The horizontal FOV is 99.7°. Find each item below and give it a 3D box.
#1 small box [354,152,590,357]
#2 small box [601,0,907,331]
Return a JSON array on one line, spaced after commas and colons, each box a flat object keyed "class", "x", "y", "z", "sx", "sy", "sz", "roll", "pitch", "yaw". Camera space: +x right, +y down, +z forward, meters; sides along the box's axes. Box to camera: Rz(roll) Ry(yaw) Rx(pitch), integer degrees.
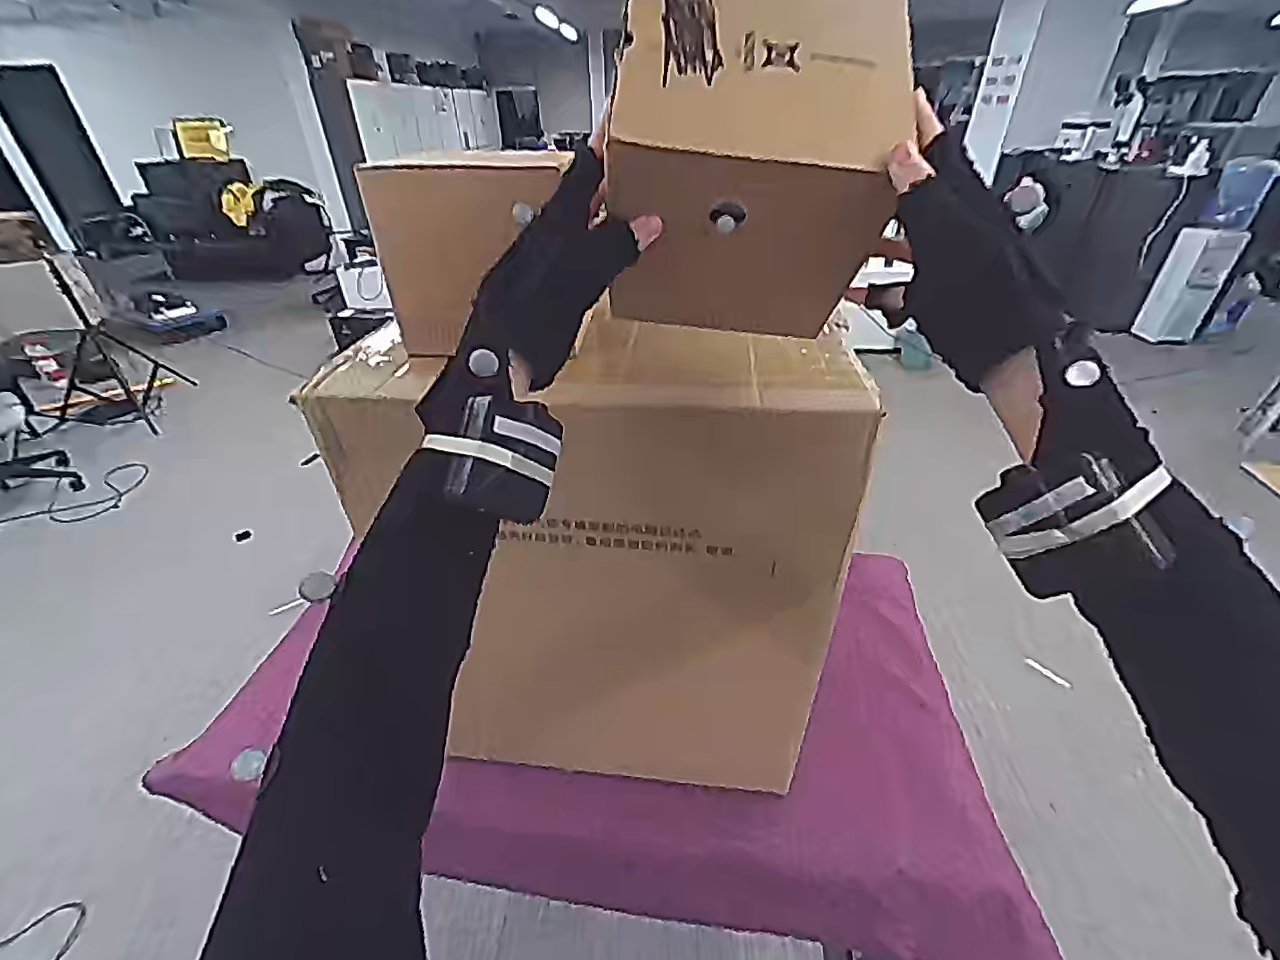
[{"class": "small box", "x": -0.148, "y": -0.233, "z": 0.558, "sx": 0.179, "sy": 0.176, "sz": 0.168, "roll": 0, "pitch": 34, "yaw": 3}, {"class": "small box", "x": 0.069, "y": -0.230, "z": 0.404, "sx": 0.179, "sy": 0.176, "sz": 0.168, "roll": 5, "pitch": 72, "yaw": 0}]
